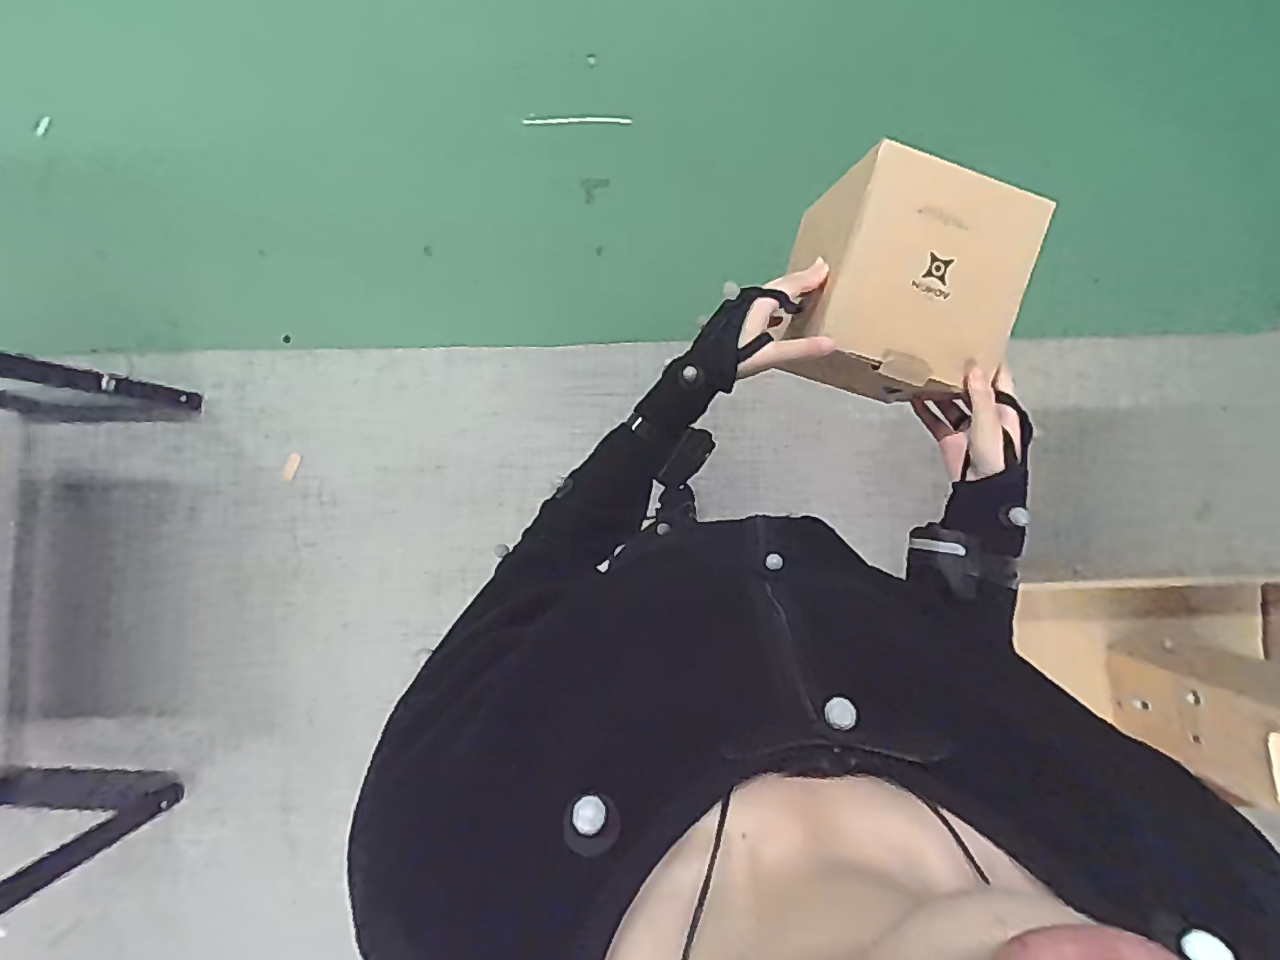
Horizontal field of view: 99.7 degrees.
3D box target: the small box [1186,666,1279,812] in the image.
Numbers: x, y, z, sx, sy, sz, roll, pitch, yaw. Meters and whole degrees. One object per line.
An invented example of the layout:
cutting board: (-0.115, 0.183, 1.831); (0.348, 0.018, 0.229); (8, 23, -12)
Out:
small box: (0.988, 0.394, 0.818); (0.179, 0.176, 0.168); (-7, 88, 4)
